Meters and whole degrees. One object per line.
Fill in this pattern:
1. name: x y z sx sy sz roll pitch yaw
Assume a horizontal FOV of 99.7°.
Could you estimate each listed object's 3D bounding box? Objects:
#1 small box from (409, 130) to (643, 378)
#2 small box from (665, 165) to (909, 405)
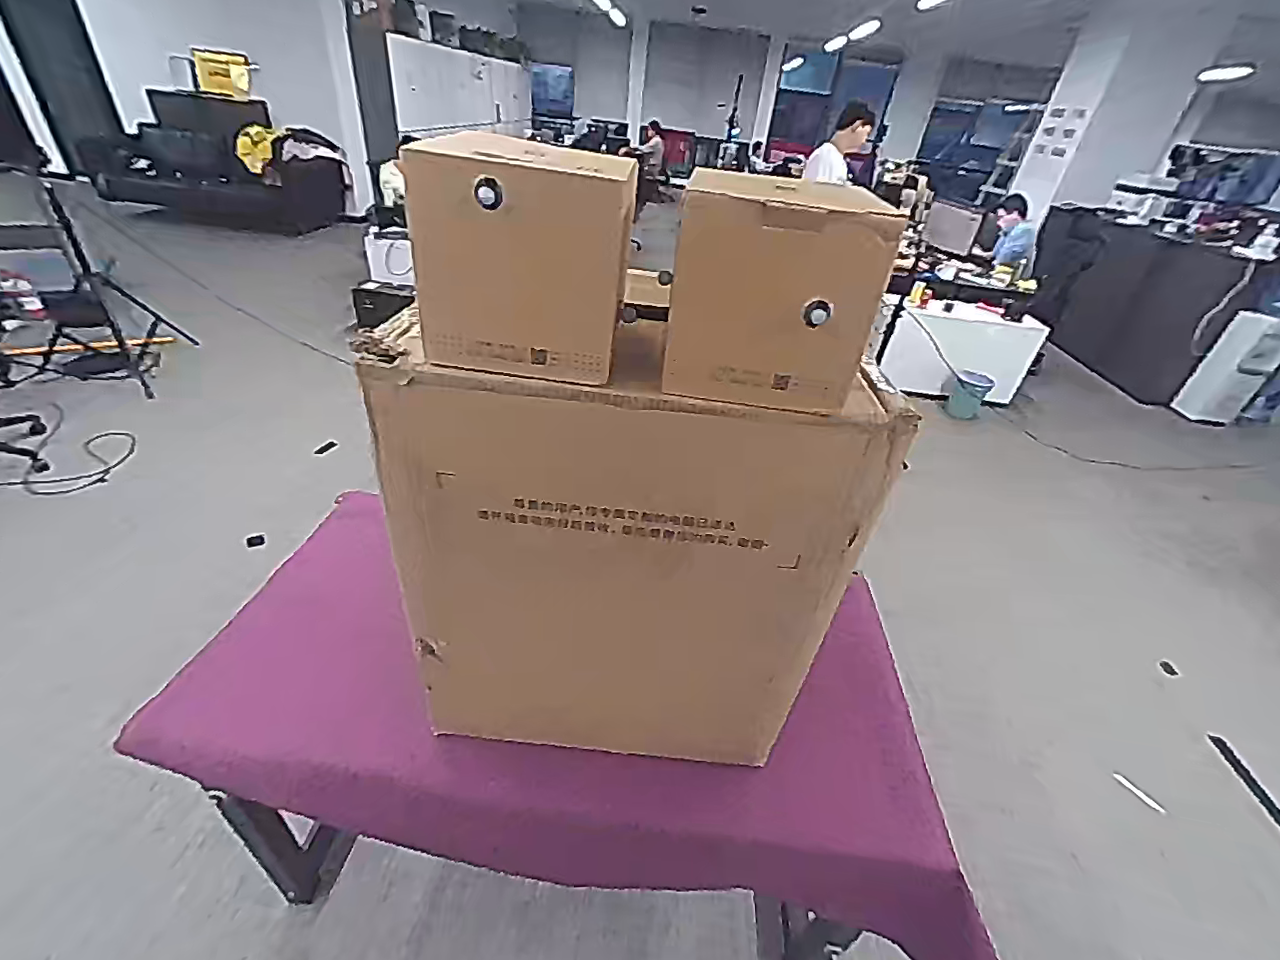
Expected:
1. small box: -0.092 -0.212 0.501 0.168 0.176 0.179 7 34 -1
2. small box: 0.118 -0.185 0.505 0.168 0.176 0.179 9 34 2
